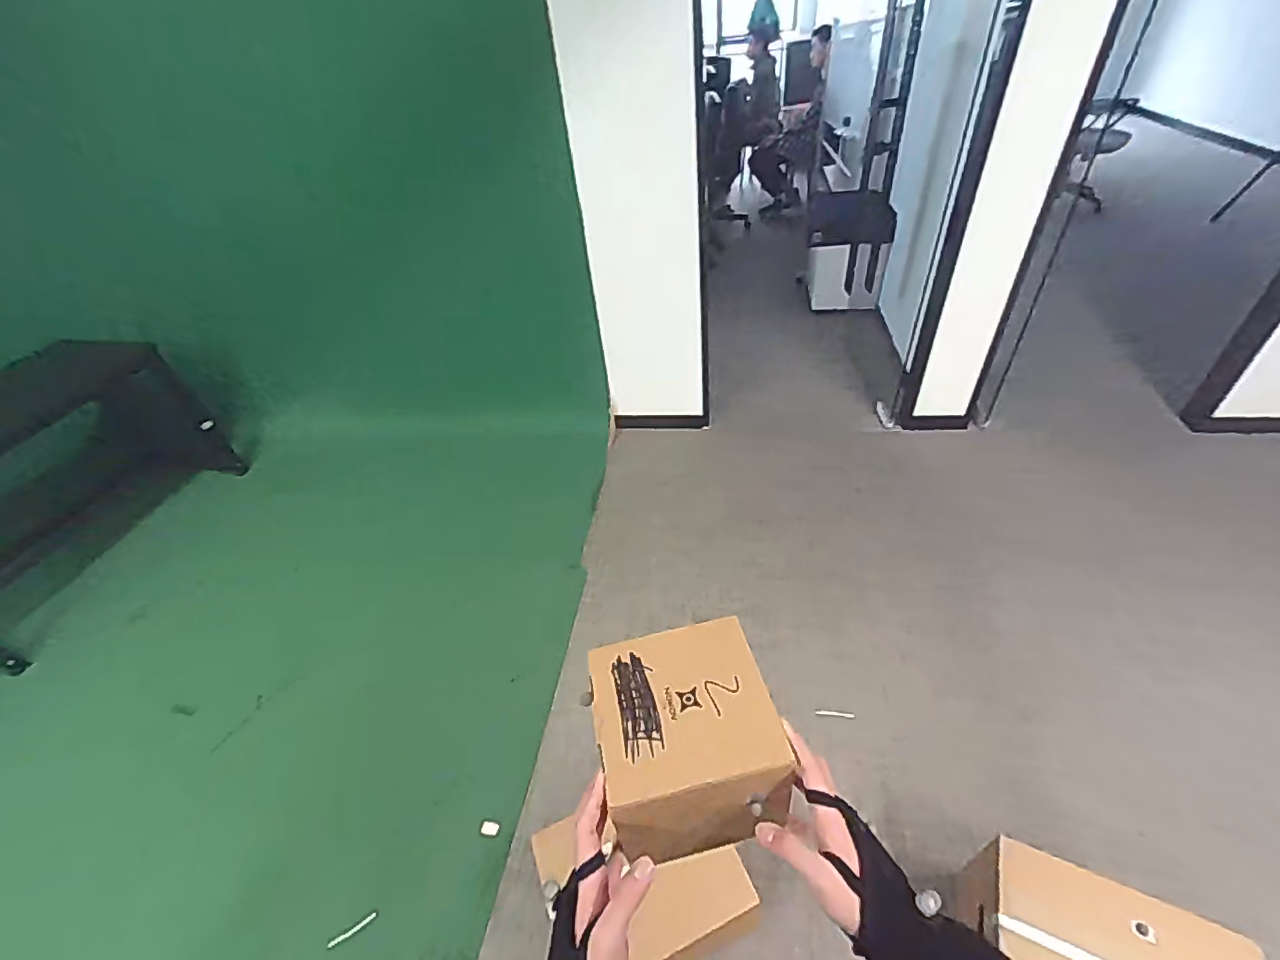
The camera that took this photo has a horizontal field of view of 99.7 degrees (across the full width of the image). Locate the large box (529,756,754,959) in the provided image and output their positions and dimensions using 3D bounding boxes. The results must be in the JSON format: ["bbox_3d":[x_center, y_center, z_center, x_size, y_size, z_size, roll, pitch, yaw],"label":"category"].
[{"bbox_3d":[0.007,0.923,1.241,0.408,0.320,0.320,-21,43,-13],"label":"large box"}]
